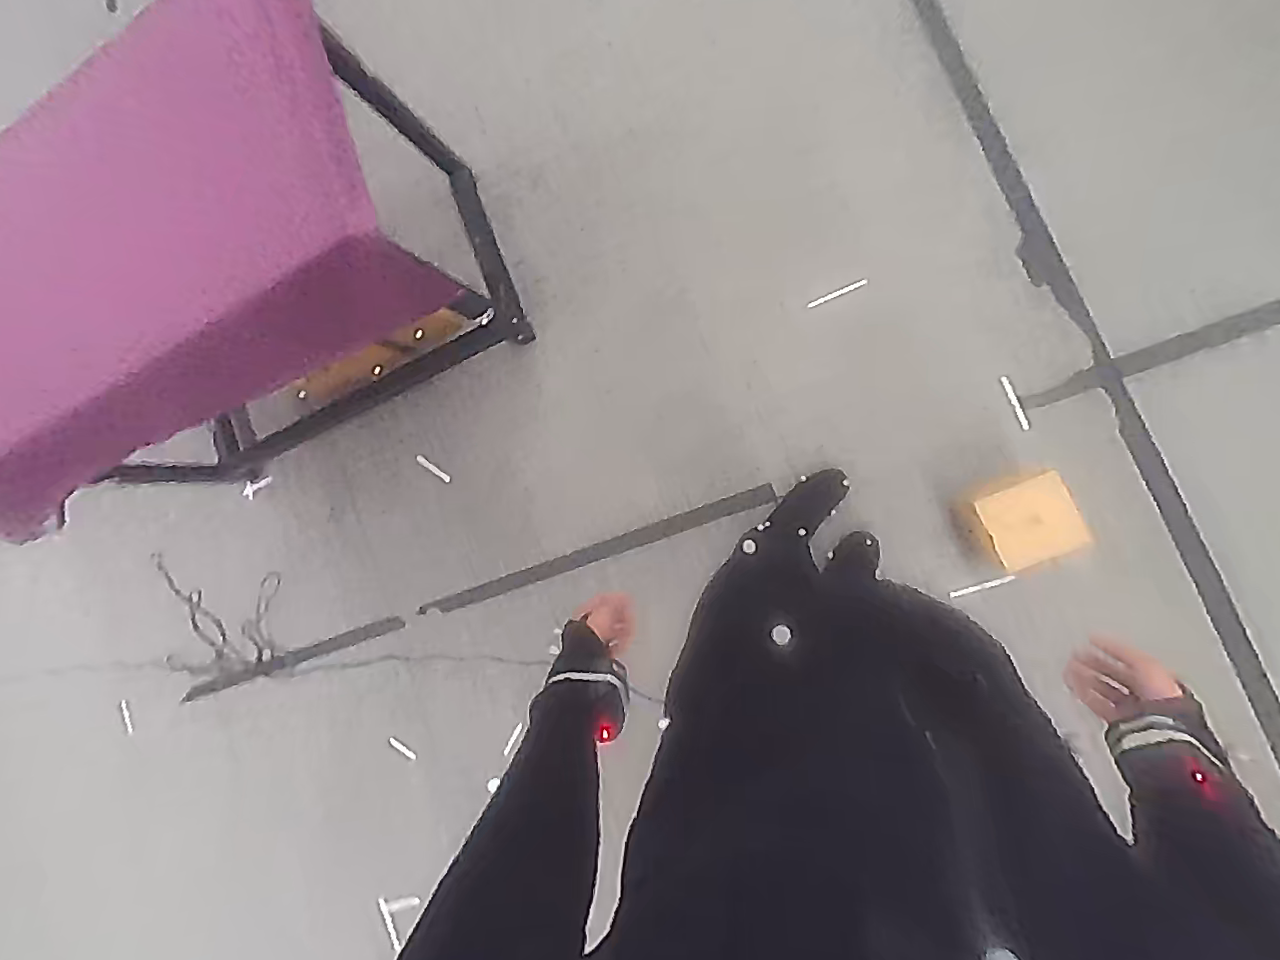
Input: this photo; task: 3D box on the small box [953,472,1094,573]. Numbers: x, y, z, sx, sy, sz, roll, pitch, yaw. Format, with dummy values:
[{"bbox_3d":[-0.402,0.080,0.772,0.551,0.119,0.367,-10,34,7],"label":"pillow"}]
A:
[{"bbox_3d":[0.839,0.087,1.203,0.179,0.176,0.168,-25,84,15],"label":"small box"}]
